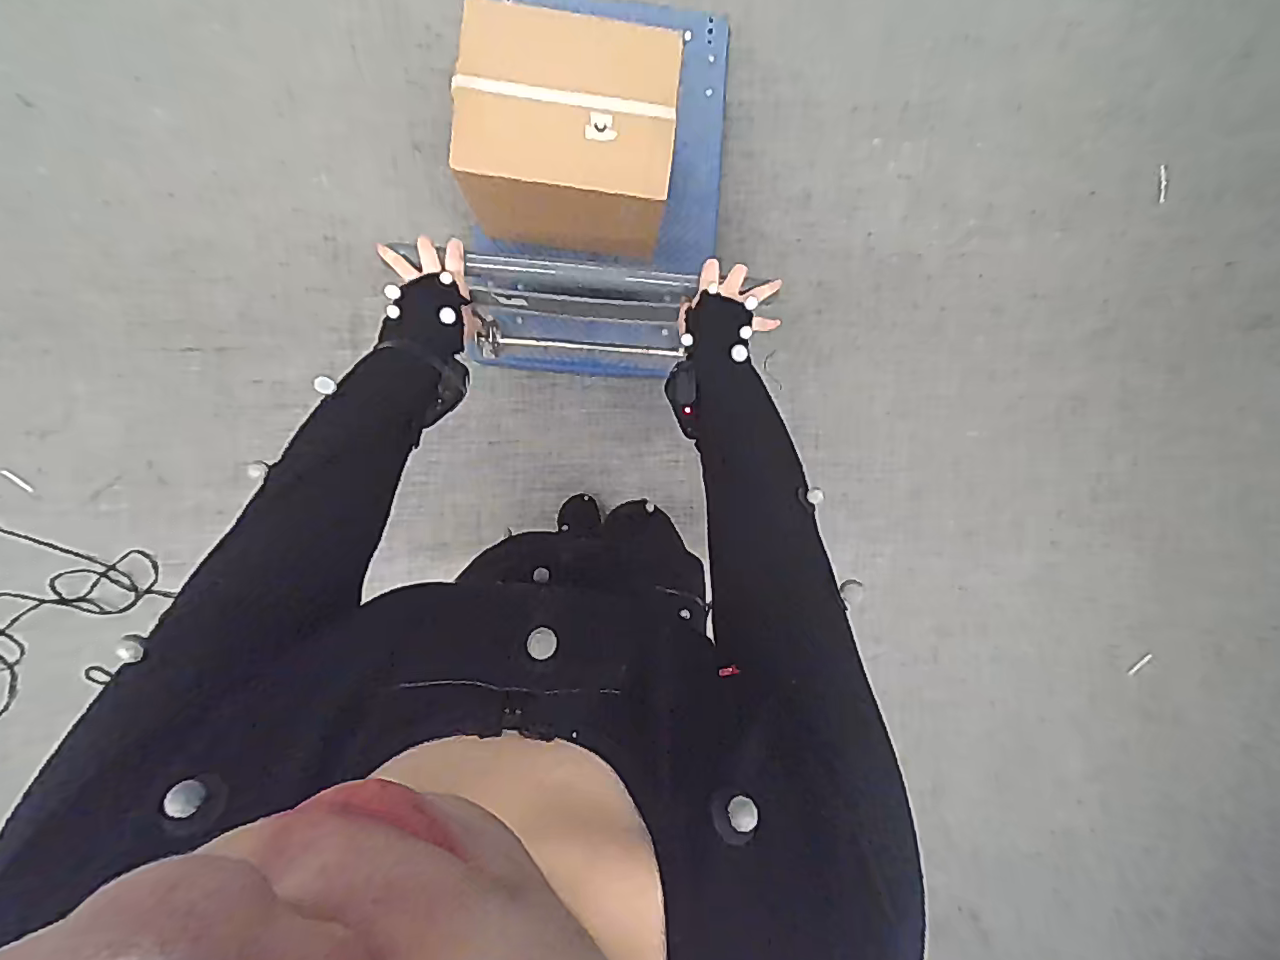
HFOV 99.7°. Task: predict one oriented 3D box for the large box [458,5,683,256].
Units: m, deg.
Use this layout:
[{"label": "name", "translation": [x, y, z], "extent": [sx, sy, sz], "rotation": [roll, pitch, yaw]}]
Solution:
[{"label": "large box", "translation": [-0.142, -0.711, 1.161], "extent": [0.408, 0.320, 0.320], "rotation": [6, 91, -5]}]
